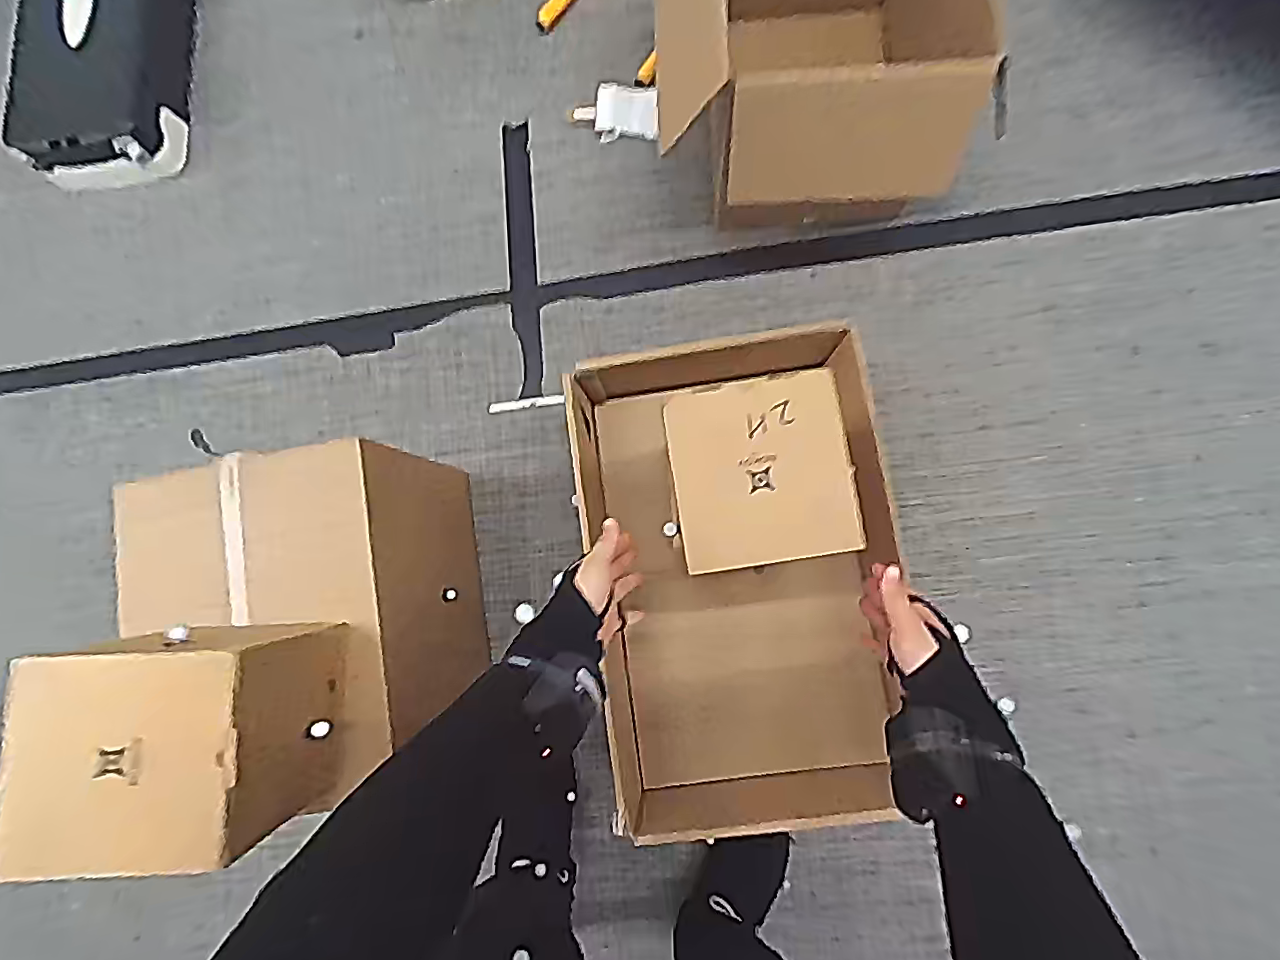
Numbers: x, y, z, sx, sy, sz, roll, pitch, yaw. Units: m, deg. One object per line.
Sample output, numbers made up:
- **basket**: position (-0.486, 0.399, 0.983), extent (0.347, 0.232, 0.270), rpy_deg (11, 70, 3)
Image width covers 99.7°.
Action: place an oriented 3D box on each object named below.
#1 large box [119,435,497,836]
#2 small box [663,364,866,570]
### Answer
- **large box**: position (-0.419, 0.184, 0.753), extent (0.320, 0.320, 0.408), rpy_deg (-10, 83, 4)
- **small box**: position (0.119, -0.006, 0.580), extent (0.168, 0.176, 0.179), rpy_deg (-9, 84, 2)
